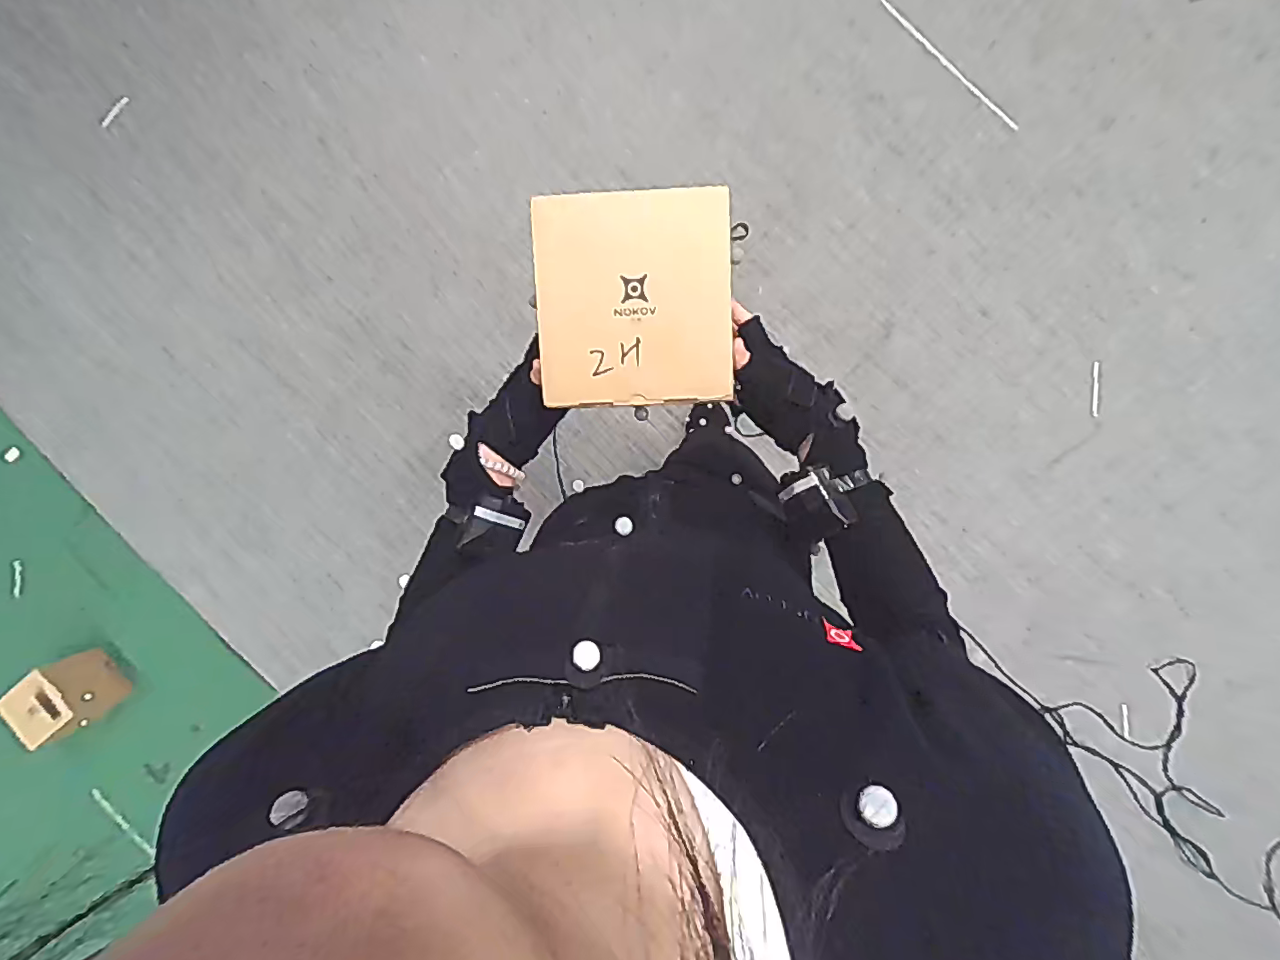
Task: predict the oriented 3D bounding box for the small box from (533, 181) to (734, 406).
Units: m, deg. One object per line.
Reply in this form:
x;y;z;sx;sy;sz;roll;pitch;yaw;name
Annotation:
-0.003;-0.163;0.527;0.168;0.176;0.179;-2;98;2;small box
